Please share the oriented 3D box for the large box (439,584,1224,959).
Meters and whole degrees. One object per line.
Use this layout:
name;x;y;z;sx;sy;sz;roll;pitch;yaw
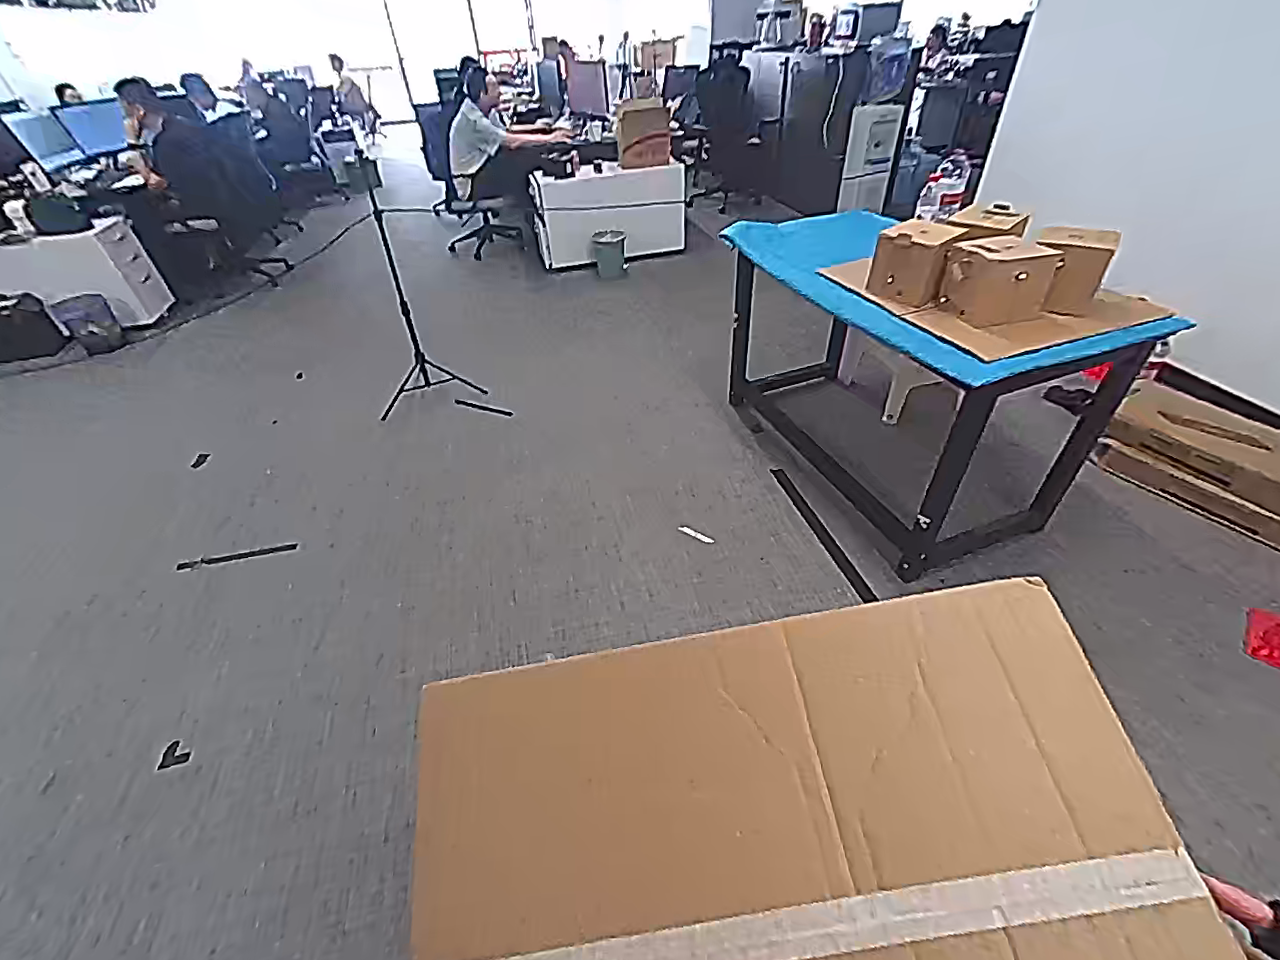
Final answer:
large box;0.100;0.307;0.419;0.408;0.320;0.320;-11;63;2
